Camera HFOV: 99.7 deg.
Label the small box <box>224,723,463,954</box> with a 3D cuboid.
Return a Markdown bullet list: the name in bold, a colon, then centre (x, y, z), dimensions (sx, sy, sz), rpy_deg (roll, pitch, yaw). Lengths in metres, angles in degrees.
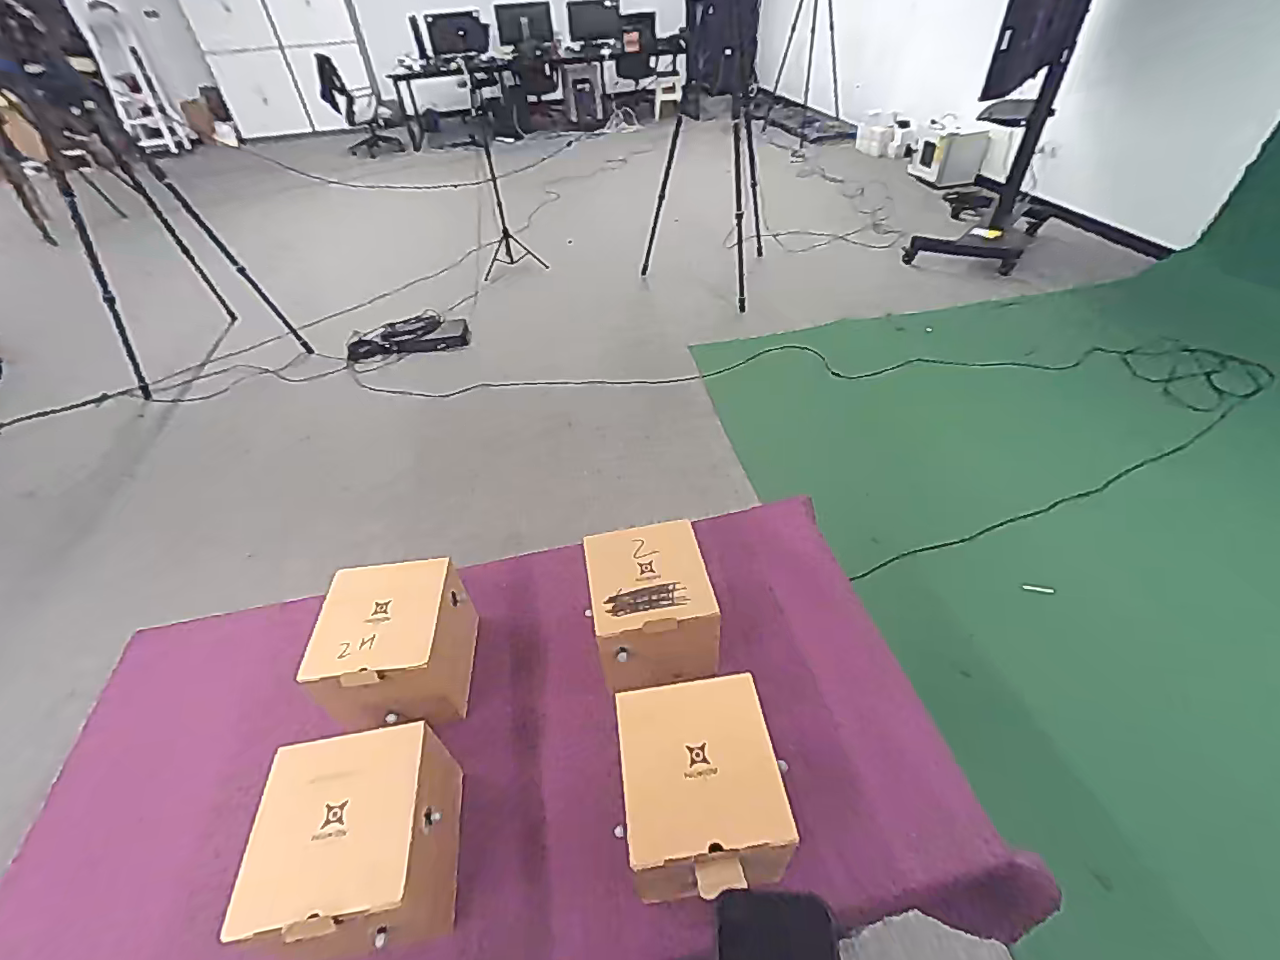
- **small box**: centre (-0.309, 0.409, 0.614), dimensions (0.168, 0.176, 0.179), rpy_deg (-8, 43, -5)

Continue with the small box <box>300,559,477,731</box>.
- **small box**: centre (-0.347, 0.240, 0.791), dimensions (0.168, 0.176, 0.179), rpy_deg (-6, 44, -1)

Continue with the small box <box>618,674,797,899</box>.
- **small box**: centre (0.067, 0.358, 0.634), dimensions (0.168, 0.176, 0.179), rpy_deg (-8, 44, -3)
